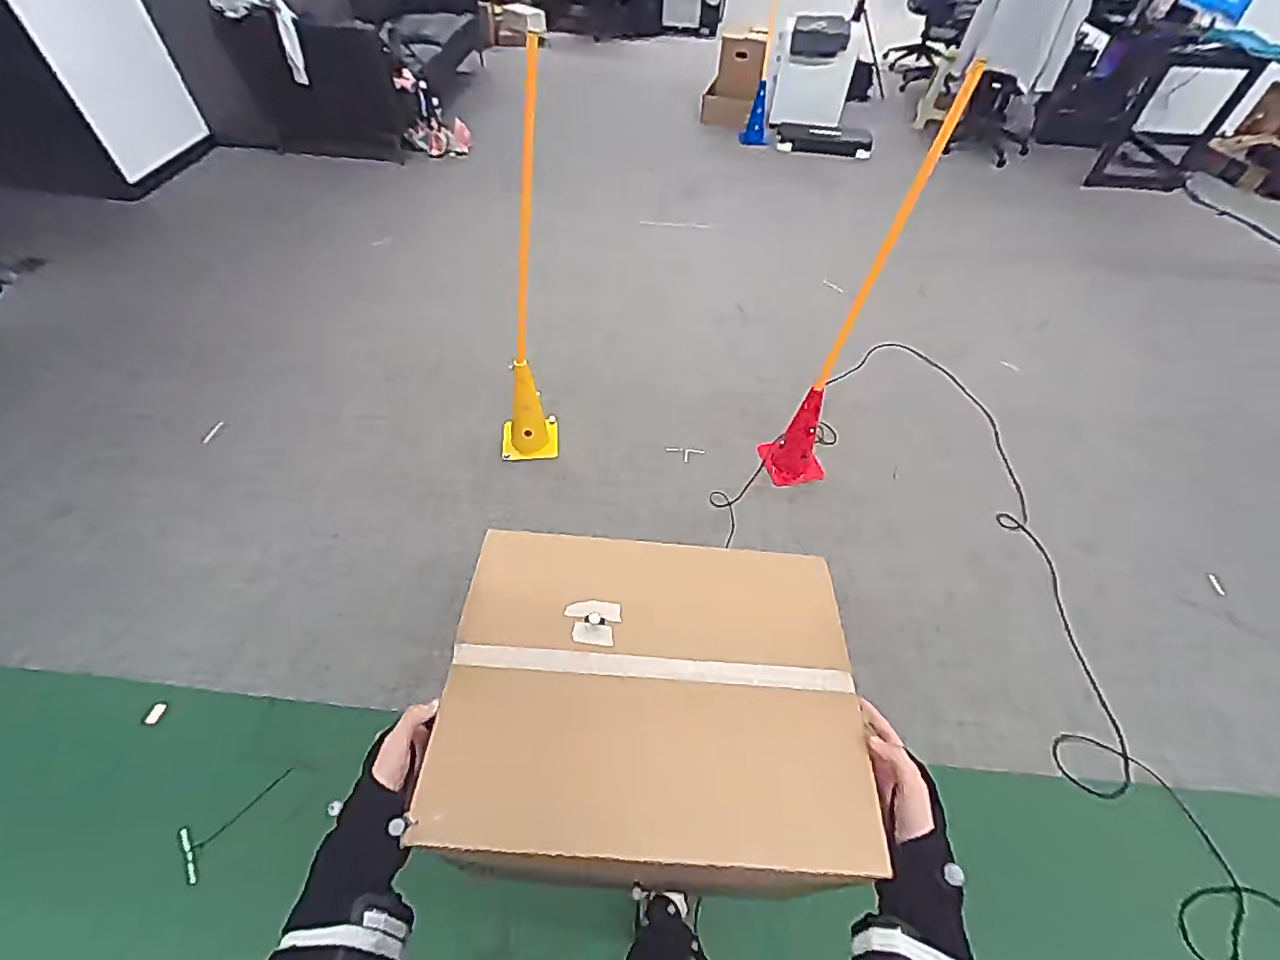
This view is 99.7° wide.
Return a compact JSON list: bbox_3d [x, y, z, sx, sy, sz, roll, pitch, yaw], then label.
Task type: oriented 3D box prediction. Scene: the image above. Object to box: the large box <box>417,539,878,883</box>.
[{"bbox_3d":[0.007,0.295,0.668,0.408,0.320,0.320,4,49,-1],"label":"large box"}]
